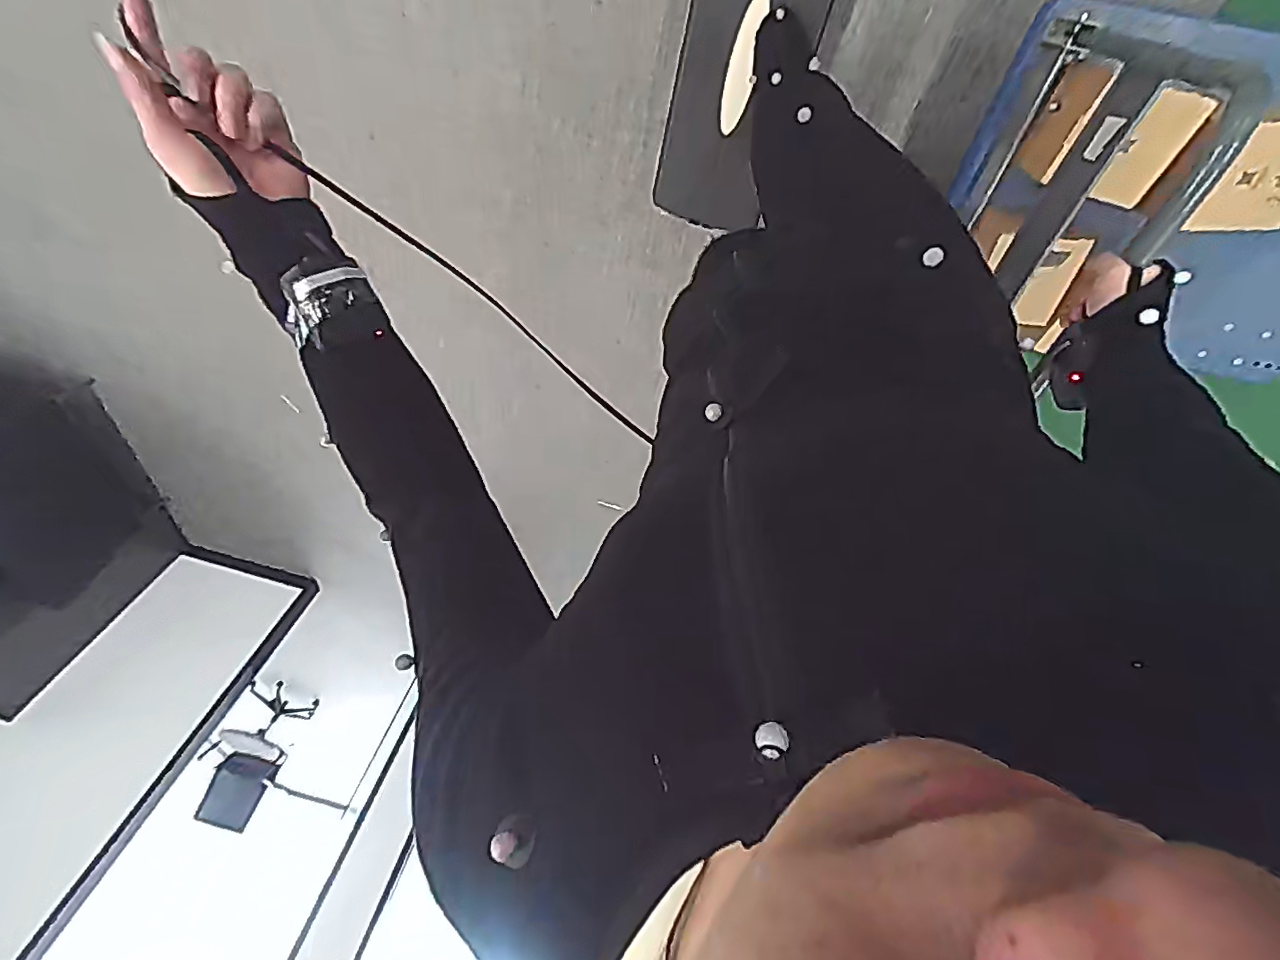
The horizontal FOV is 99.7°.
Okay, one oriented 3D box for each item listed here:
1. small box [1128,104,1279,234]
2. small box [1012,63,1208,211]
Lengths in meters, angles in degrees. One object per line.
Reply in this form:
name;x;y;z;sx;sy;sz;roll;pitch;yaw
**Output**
small box;1.019;-0.550;0.956;0.179;0.176;0.168;6;134;11
small box;0.813;-0.612;0.960;0.179;0.176;0.168;17;136;0
